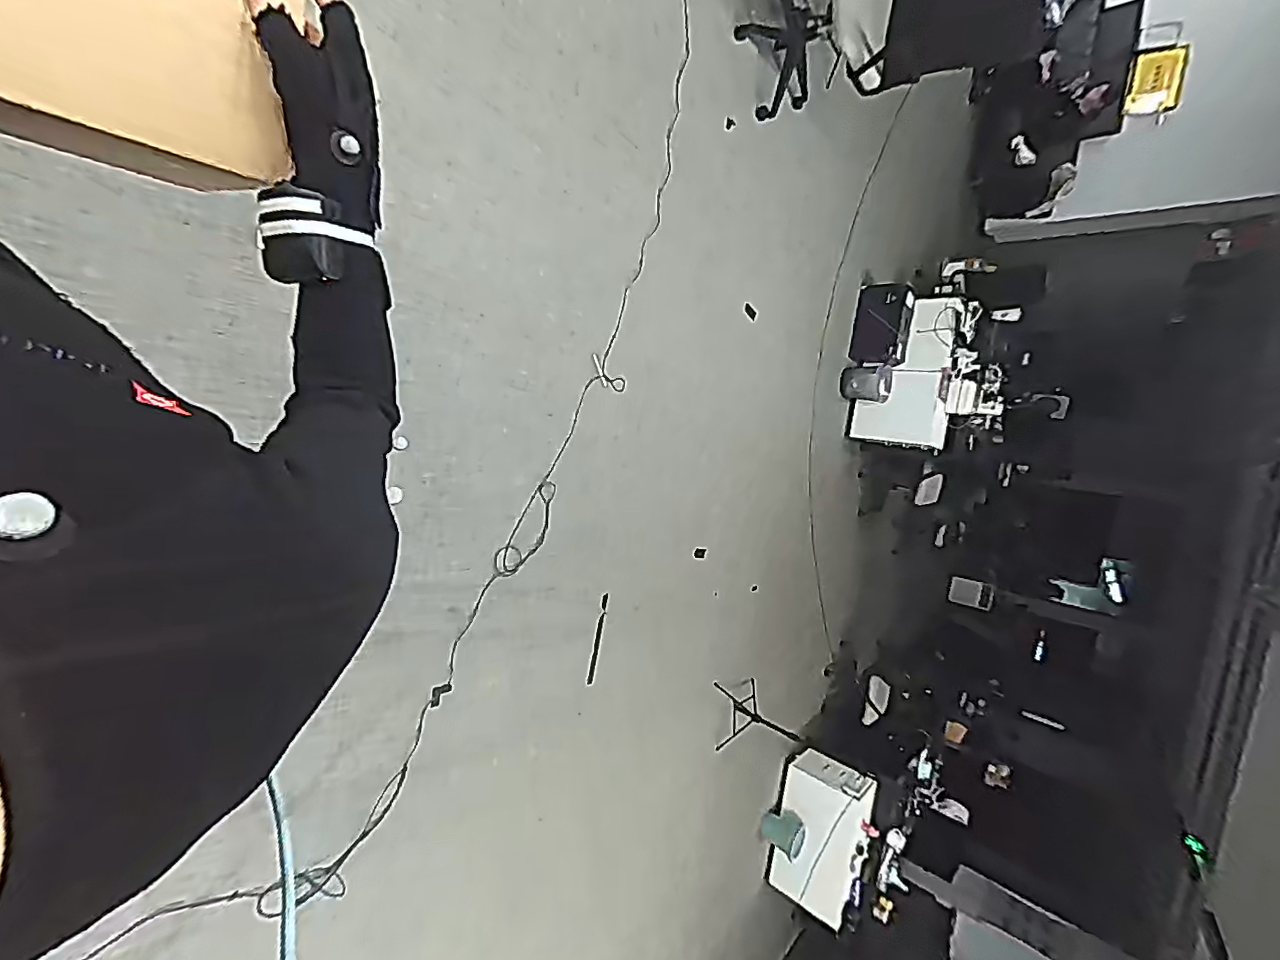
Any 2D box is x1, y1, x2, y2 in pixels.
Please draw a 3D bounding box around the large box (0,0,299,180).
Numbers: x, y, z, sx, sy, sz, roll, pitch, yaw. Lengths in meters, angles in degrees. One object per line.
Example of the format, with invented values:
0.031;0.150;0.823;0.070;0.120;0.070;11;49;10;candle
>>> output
-0.500;-0.432;0.354;0.408;0.320;0.320;-5;113;-50;large box
